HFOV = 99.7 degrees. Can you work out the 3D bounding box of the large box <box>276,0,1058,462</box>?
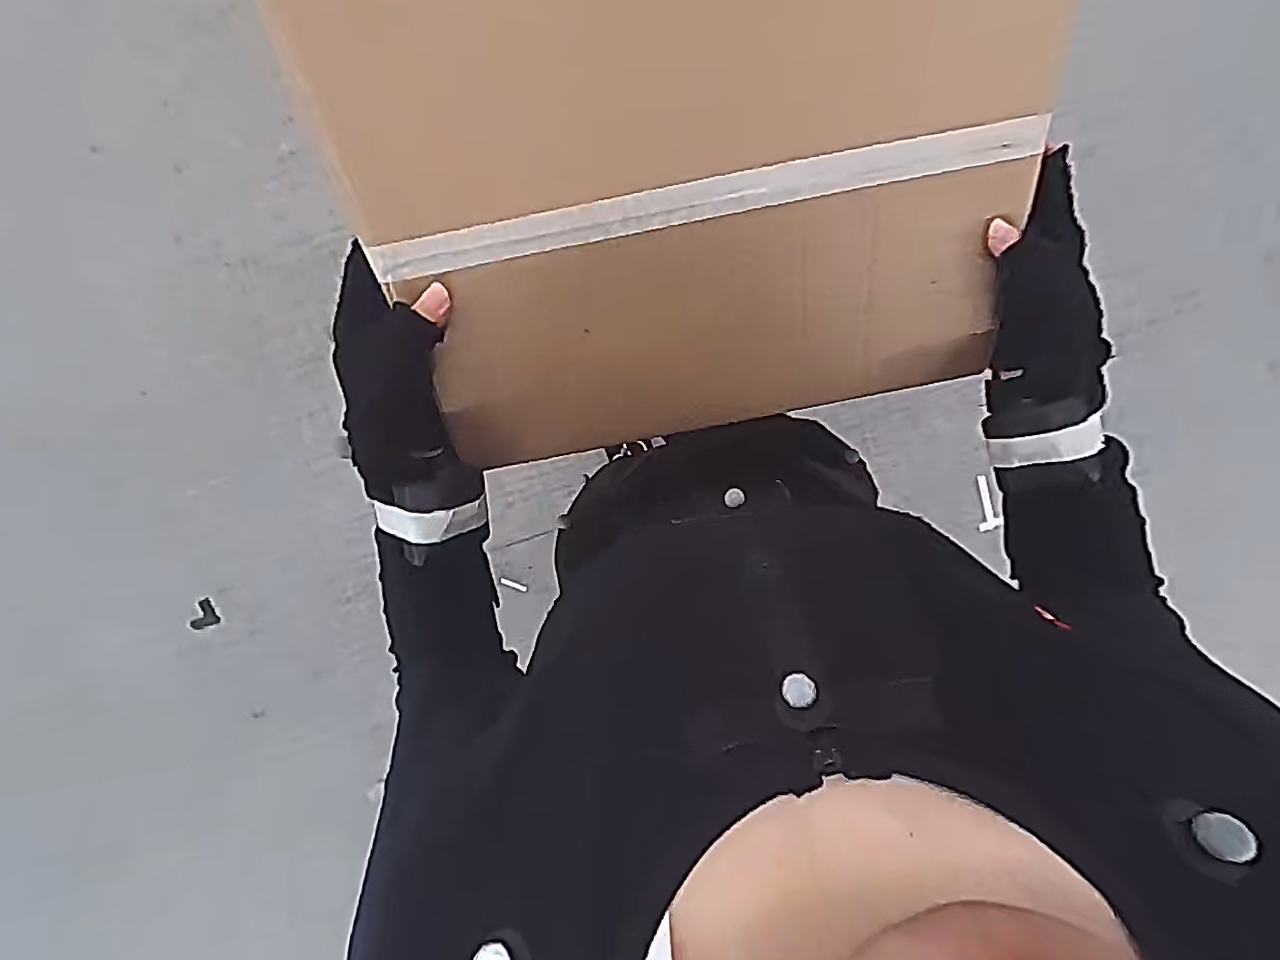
[{"bbox_3d":[0.021,-0.259,0.449,0.408,0.320,0.320,-12,127,0],"label":"large box"}]
